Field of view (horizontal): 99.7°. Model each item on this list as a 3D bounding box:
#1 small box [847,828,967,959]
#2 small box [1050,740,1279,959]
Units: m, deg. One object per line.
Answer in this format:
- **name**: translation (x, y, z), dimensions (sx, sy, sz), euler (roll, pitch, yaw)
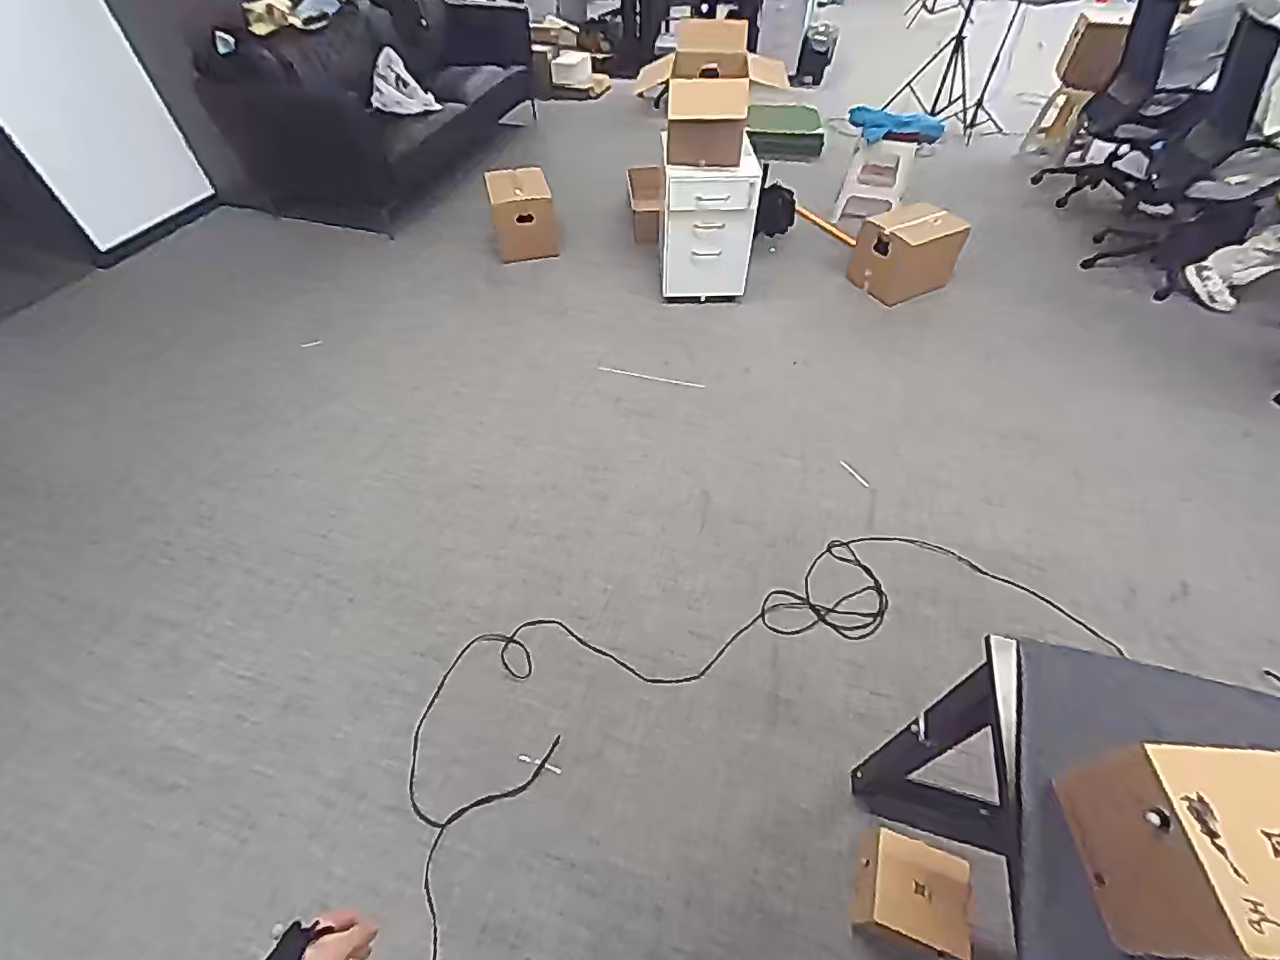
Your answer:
- **small box**: translation (0.541, 0.854, 1.111), dimensions (0.179, 0.176, 0.168), euler (17, 51, 13)
- **small box**: translation (0.582, 0.382, 0.553), dimensions (0.179, 0.176, 0.168), euler (3, 49, 3)
